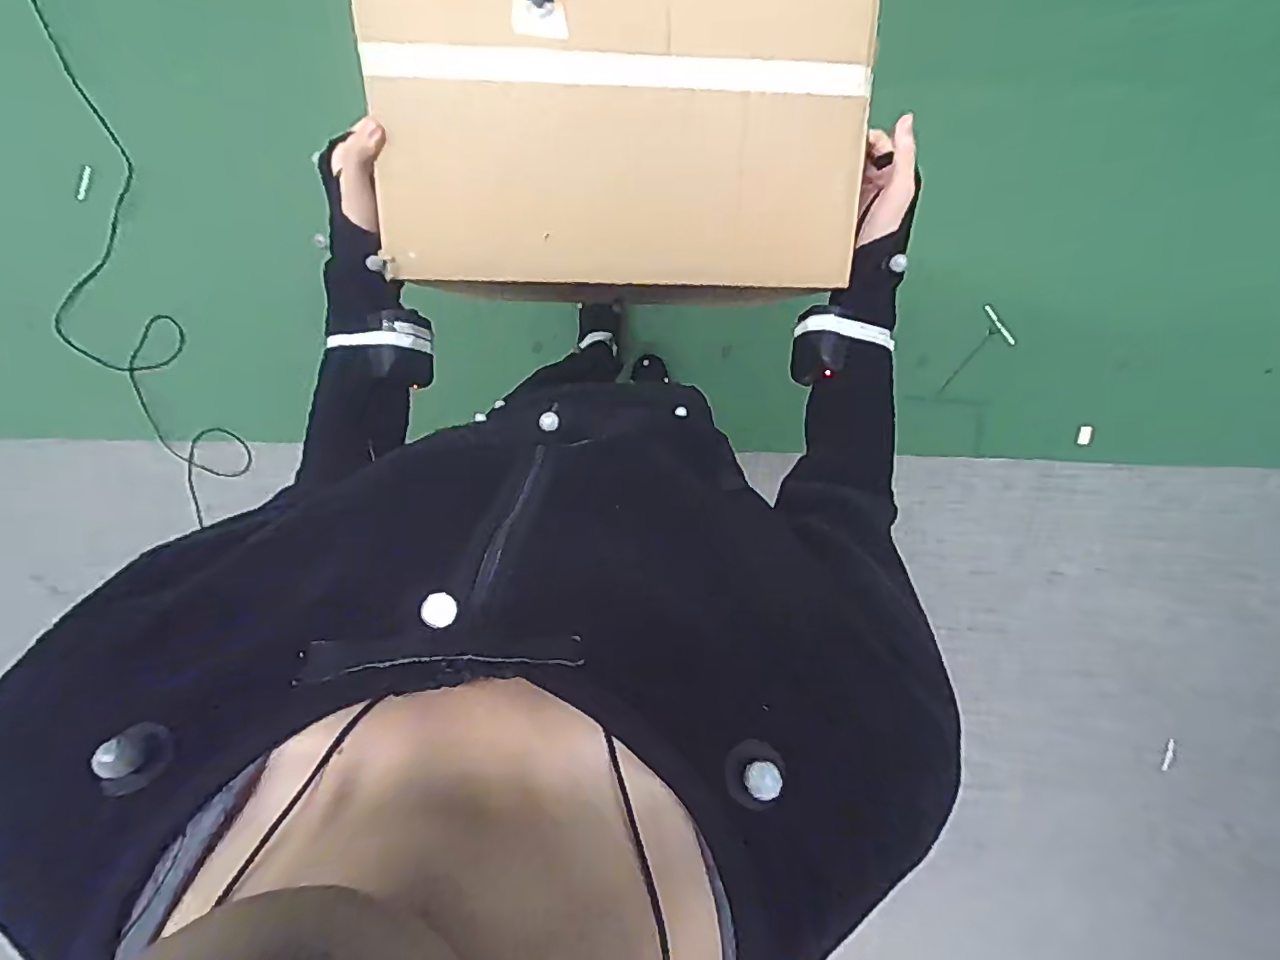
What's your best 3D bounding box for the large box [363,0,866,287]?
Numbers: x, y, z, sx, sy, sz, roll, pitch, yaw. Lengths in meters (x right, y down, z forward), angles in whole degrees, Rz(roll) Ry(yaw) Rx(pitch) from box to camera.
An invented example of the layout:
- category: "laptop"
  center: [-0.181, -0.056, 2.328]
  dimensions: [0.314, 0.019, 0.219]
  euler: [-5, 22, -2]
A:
- category: "large box"
  center: [-0.025, -0.375, 0.581]
  dimensions: [0.408, 0.320, 0.320]
  euler: [0, 106, -4]
